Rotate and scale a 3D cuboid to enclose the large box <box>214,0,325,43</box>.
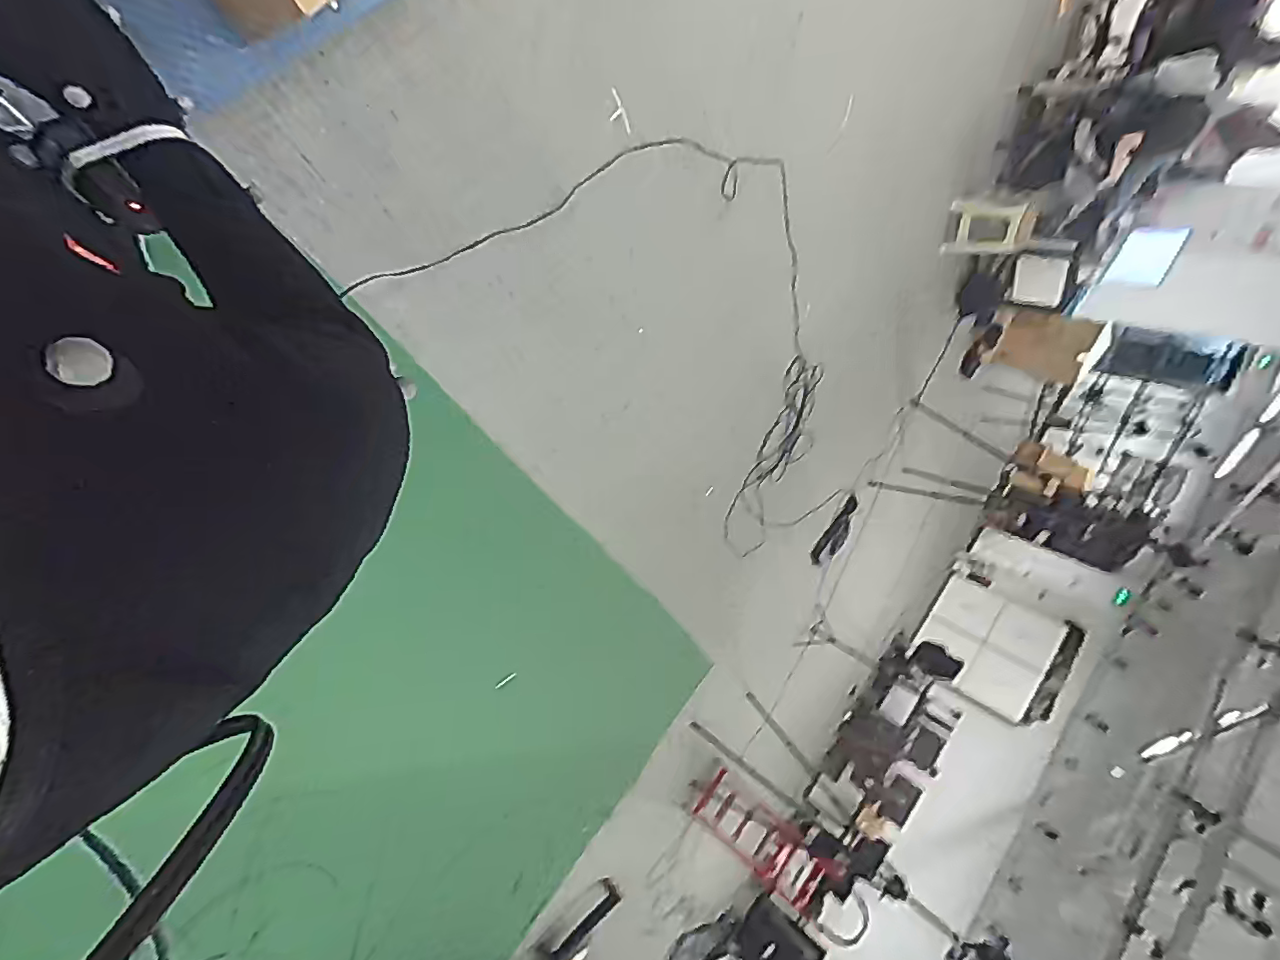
[{"bbox_3d":[-0.539,-0.898,0.706,0.320,0.320,0.408,-50,139,-15],"label":"large box"}]
